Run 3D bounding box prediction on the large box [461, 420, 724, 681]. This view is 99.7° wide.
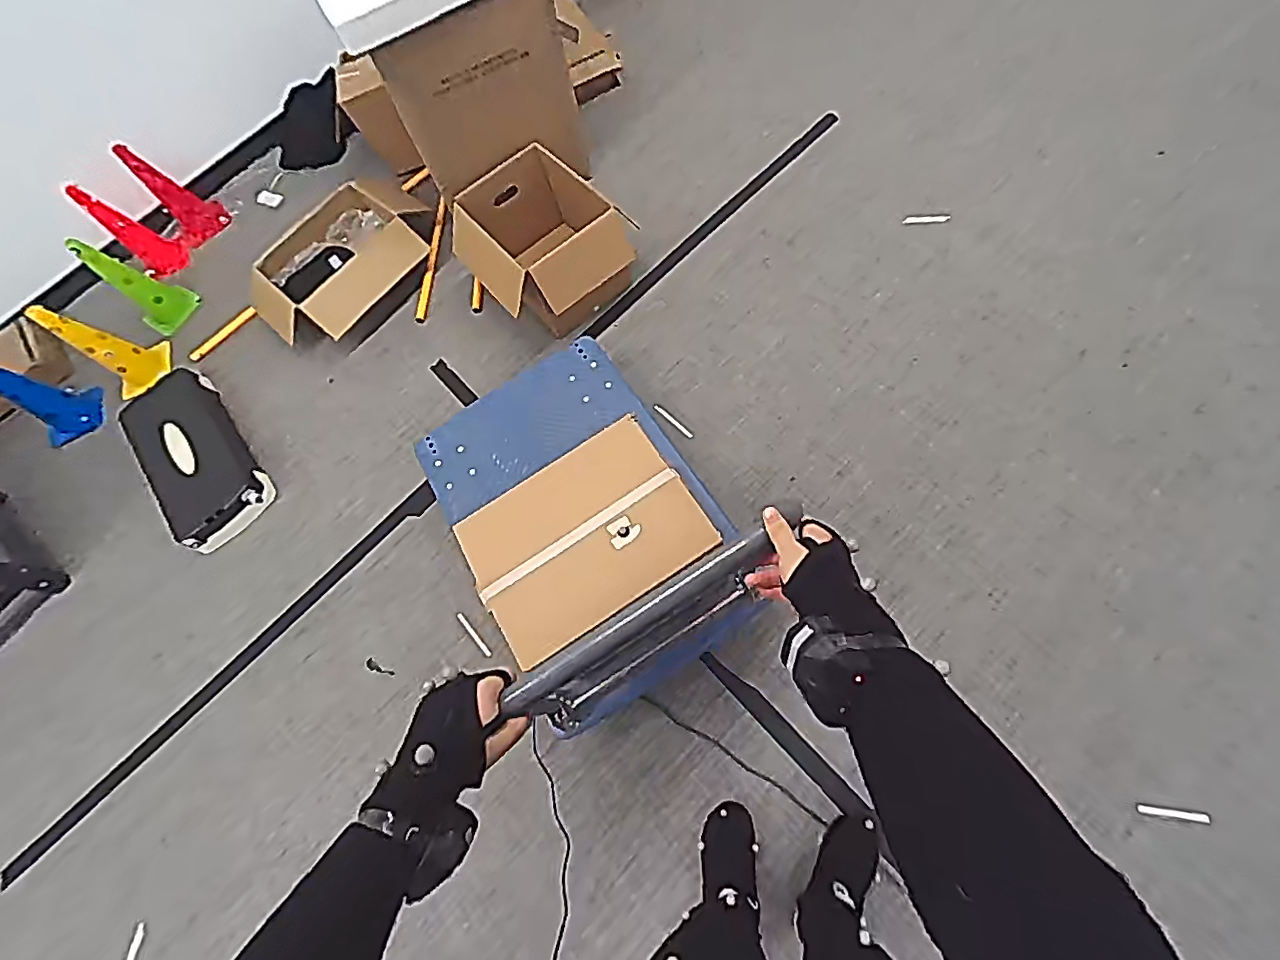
[{"bbox_3d":[-0.078,0.161,1.115,0.408,0.320,0.320,-33,67,-5],"label":"large box"}]
